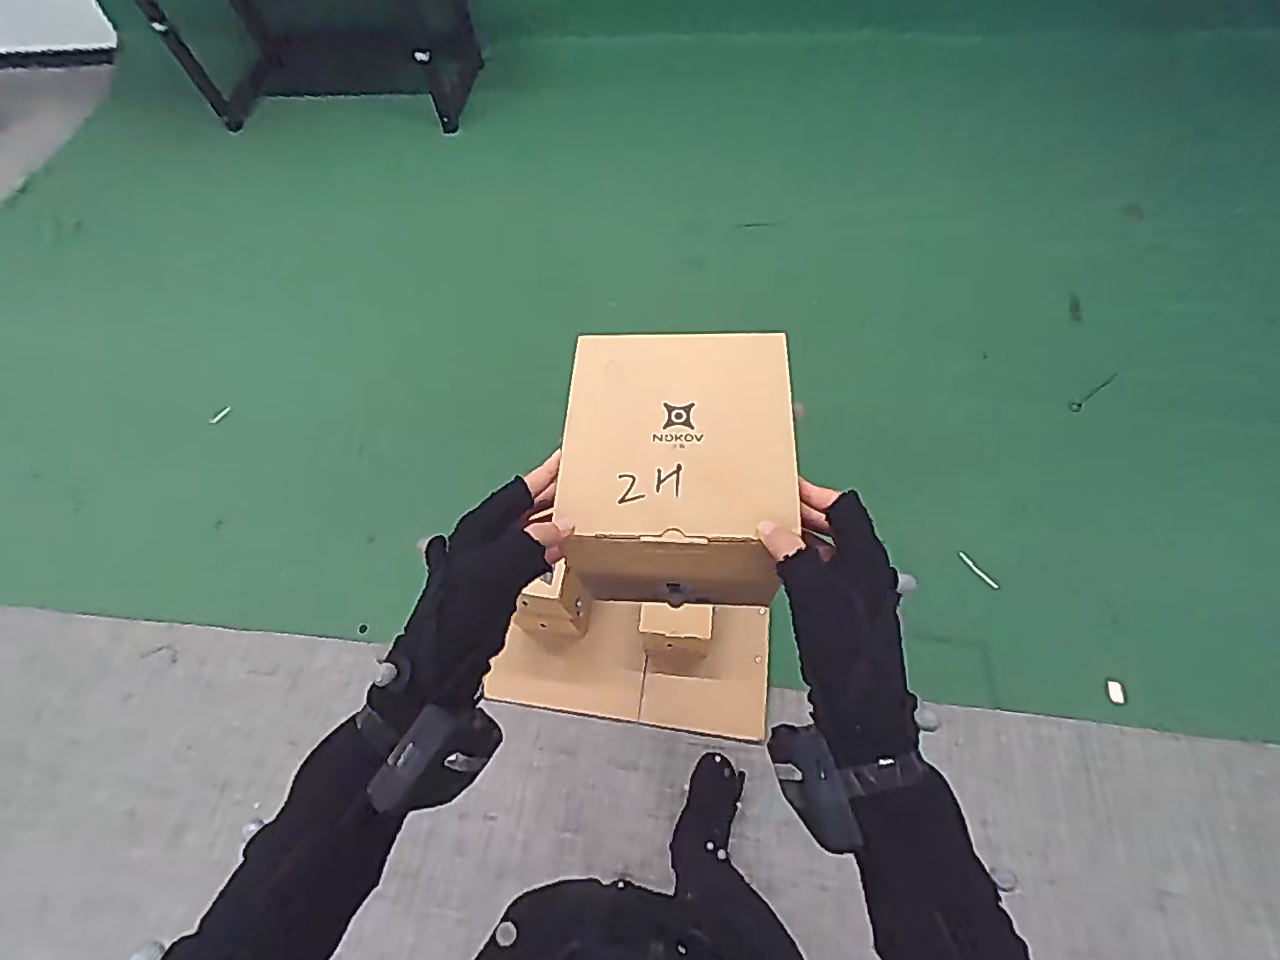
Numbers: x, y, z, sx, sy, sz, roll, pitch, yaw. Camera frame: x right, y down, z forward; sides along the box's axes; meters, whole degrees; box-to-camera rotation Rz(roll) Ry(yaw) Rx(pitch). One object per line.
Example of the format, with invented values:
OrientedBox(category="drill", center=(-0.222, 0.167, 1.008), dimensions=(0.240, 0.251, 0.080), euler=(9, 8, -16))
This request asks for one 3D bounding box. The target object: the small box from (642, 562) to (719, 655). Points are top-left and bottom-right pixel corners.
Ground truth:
OrientedBox(category="small box", center=(0.102, 0.316, 1.324), dimensions=(0.168, 0.176, 0.179), euler=(4, 62, 8))

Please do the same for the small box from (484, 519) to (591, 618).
OrientedBox(category="small box", center=(-0.220, 0.205, 1.223), dimensions=(0.179, 0.176, 0.168), euler=(7, 62, 11))
